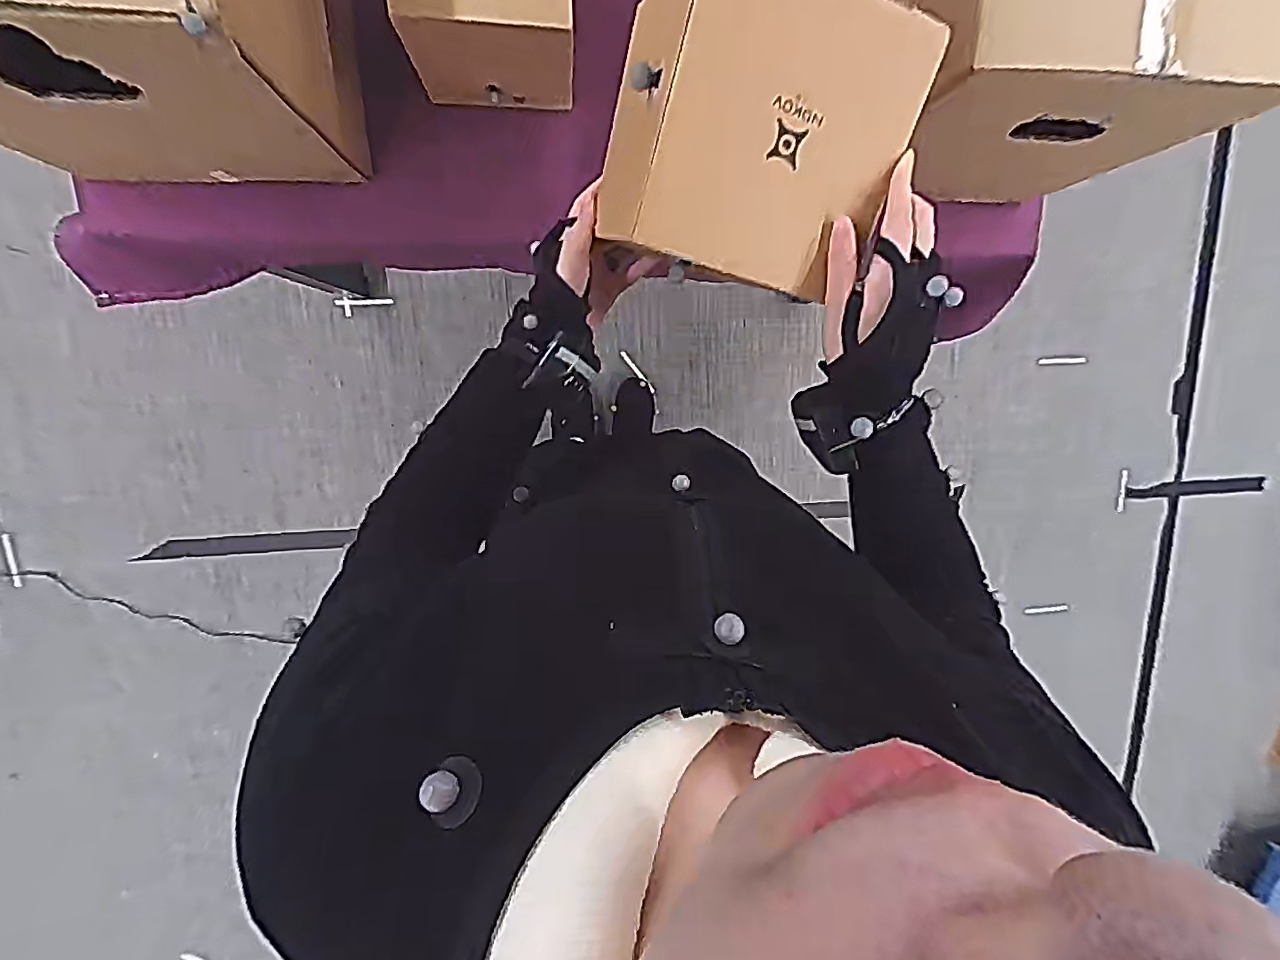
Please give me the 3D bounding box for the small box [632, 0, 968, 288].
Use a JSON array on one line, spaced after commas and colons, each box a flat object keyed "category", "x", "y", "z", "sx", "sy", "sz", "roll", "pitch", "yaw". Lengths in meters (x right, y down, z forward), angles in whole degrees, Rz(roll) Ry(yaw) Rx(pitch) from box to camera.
[{"category": "small box", "x": 0.093, "y": -0.249, "z": 0.368, "sx": 0.179, "sy": 0.176, "sz": 0.168, "roll": 10, "pitch": 92, "yaw": -1}]
